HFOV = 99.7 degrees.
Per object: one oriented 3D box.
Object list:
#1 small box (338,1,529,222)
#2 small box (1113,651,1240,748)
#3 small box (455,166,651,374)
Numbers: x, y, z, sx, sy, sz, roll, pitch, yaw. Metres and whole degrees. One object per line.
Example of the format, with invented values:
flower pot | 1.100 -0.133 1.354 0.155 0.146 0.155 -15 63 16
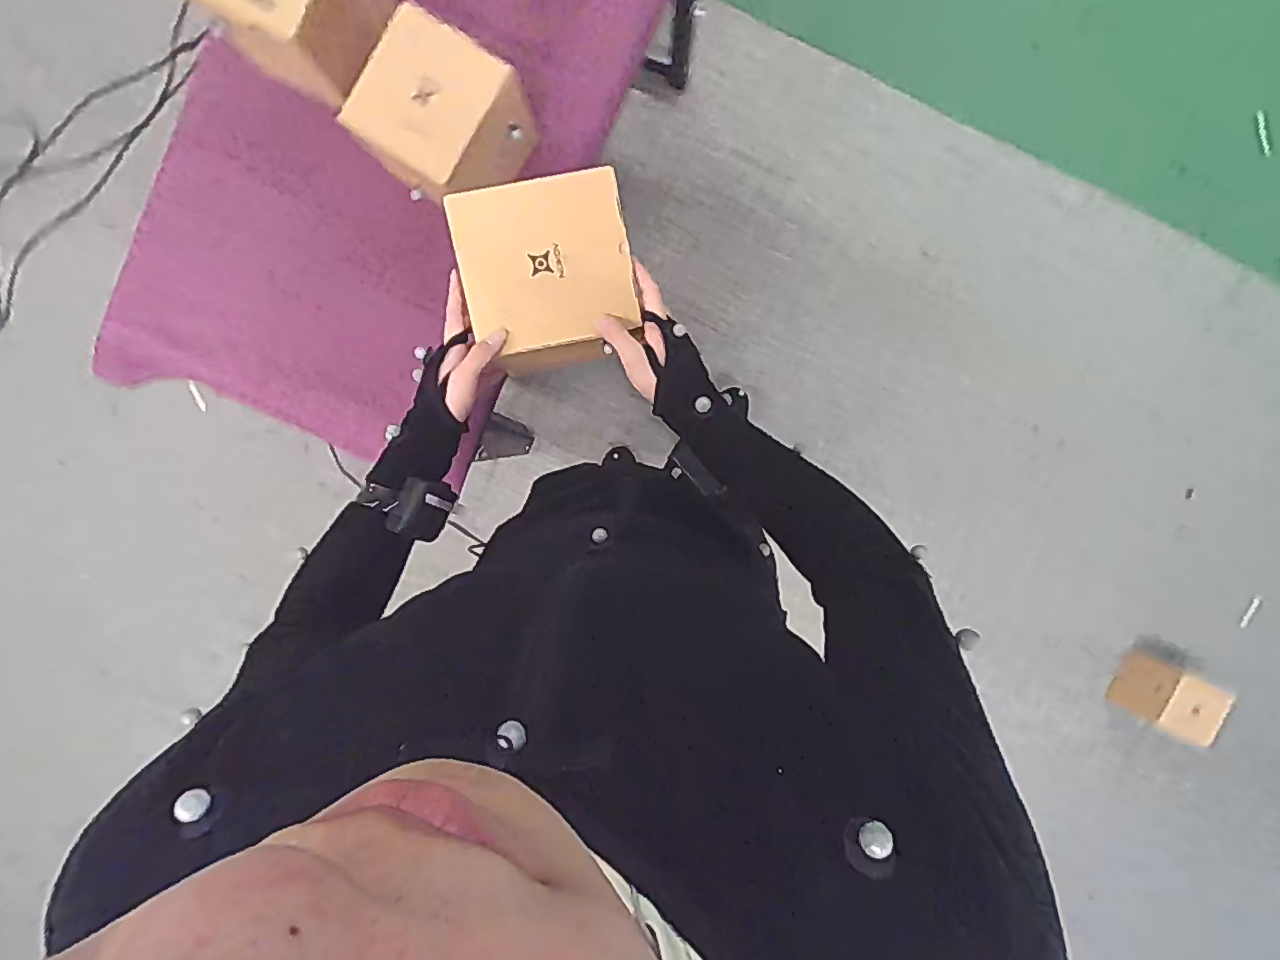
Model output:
small box | -0.277 -0.501 0.774 0.168 0.176 0.179 33 95 -1
small box | 1.544 0.627 1.570 0.168 0.176 0.179 24 94 -1
small box | -0.090 -0.225 0.624 0.179 0.176 0.168 -11 94 -3
